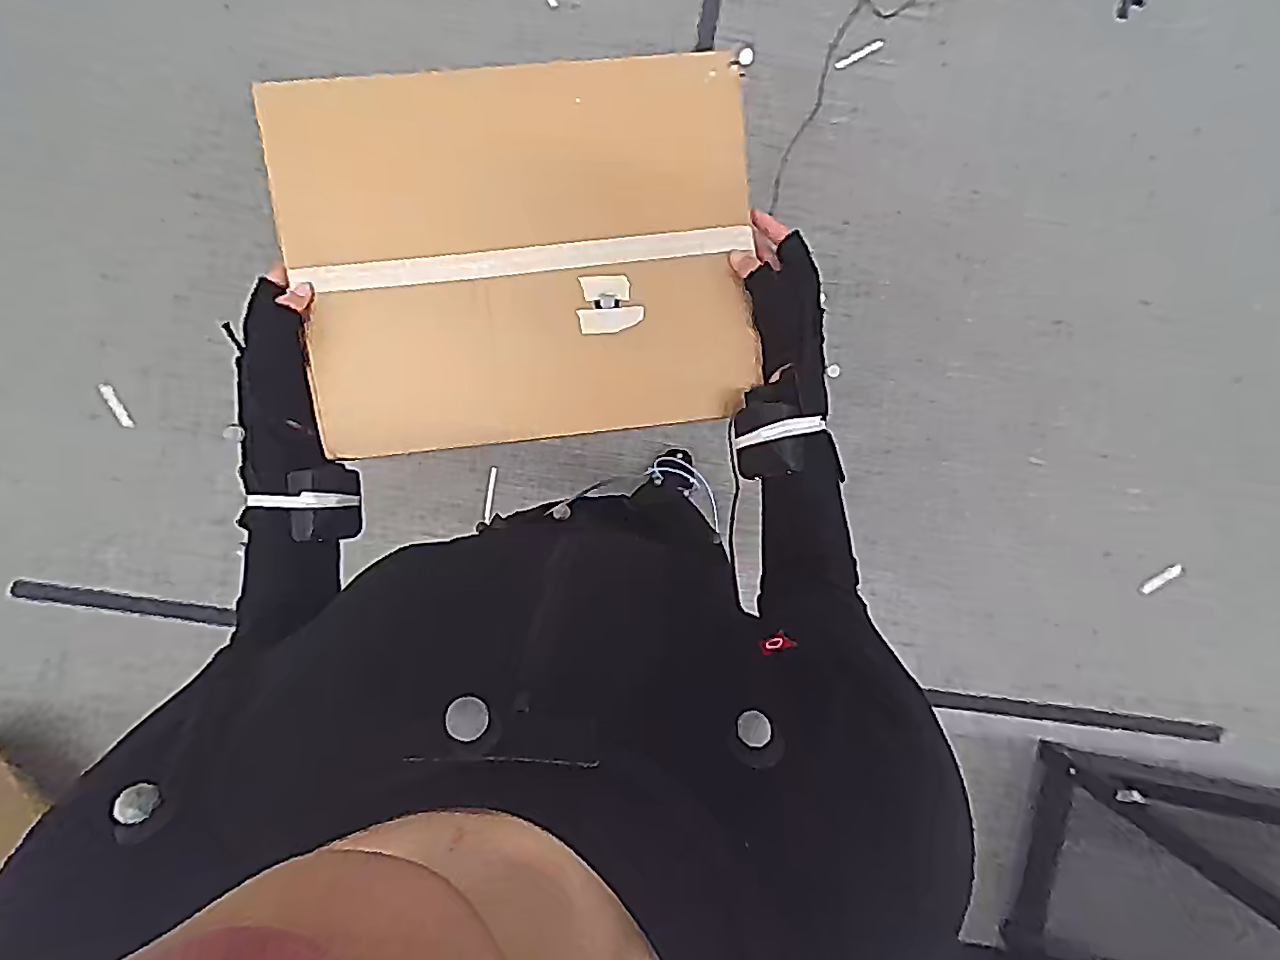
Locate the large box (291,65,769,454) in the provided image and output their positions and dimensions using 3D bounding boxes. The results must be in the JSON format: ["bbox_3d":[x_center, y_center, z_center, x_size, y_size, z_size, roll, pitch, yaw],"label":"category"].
[{"bbox_3d":[-0.099,-0.217,0.638,0.408,0.320,0.320,-6,99,-4],"label":"large box"}]
